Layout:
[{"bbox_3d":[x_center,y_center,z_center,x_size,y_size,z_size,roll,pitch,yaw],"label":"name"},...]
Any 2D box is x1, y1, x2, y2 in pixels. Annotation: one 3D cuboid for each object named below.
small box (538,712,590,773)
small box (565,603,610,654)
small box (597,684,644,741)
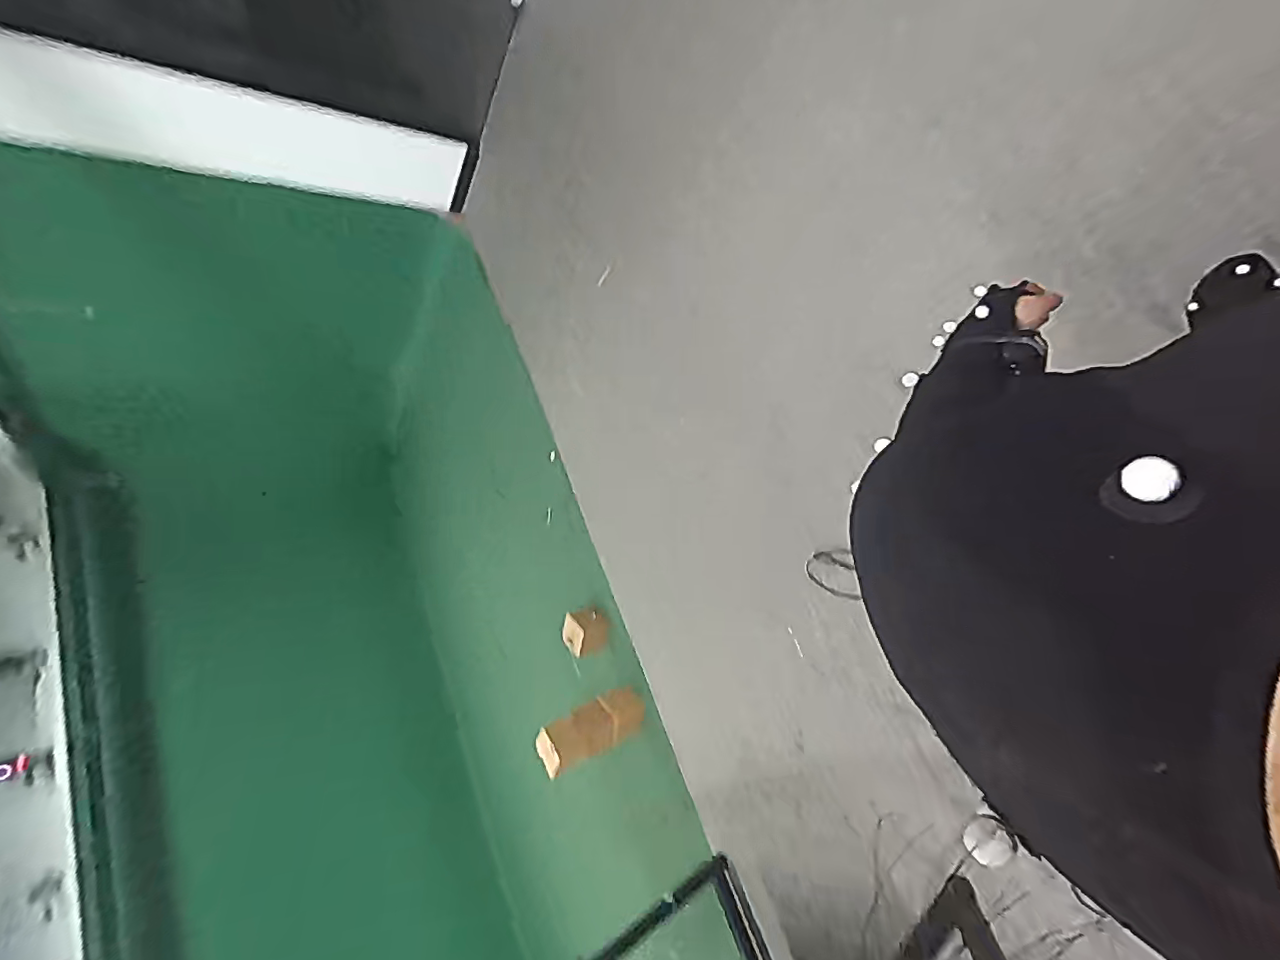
[{"bbox_3d":[-0.356,1.230,2.541,0.168,0.176,0.179,48,132,33],"label":"small box"},{"bbox_3d":[-0.275,0.783,2.868,0.168,0.176,0.179,36,123,42],"label":"small box"},{"bbox_3d":[-0.096,1.168,2.732,0.168,0.176,0.179,28,119,45],"label":"small box"}]
